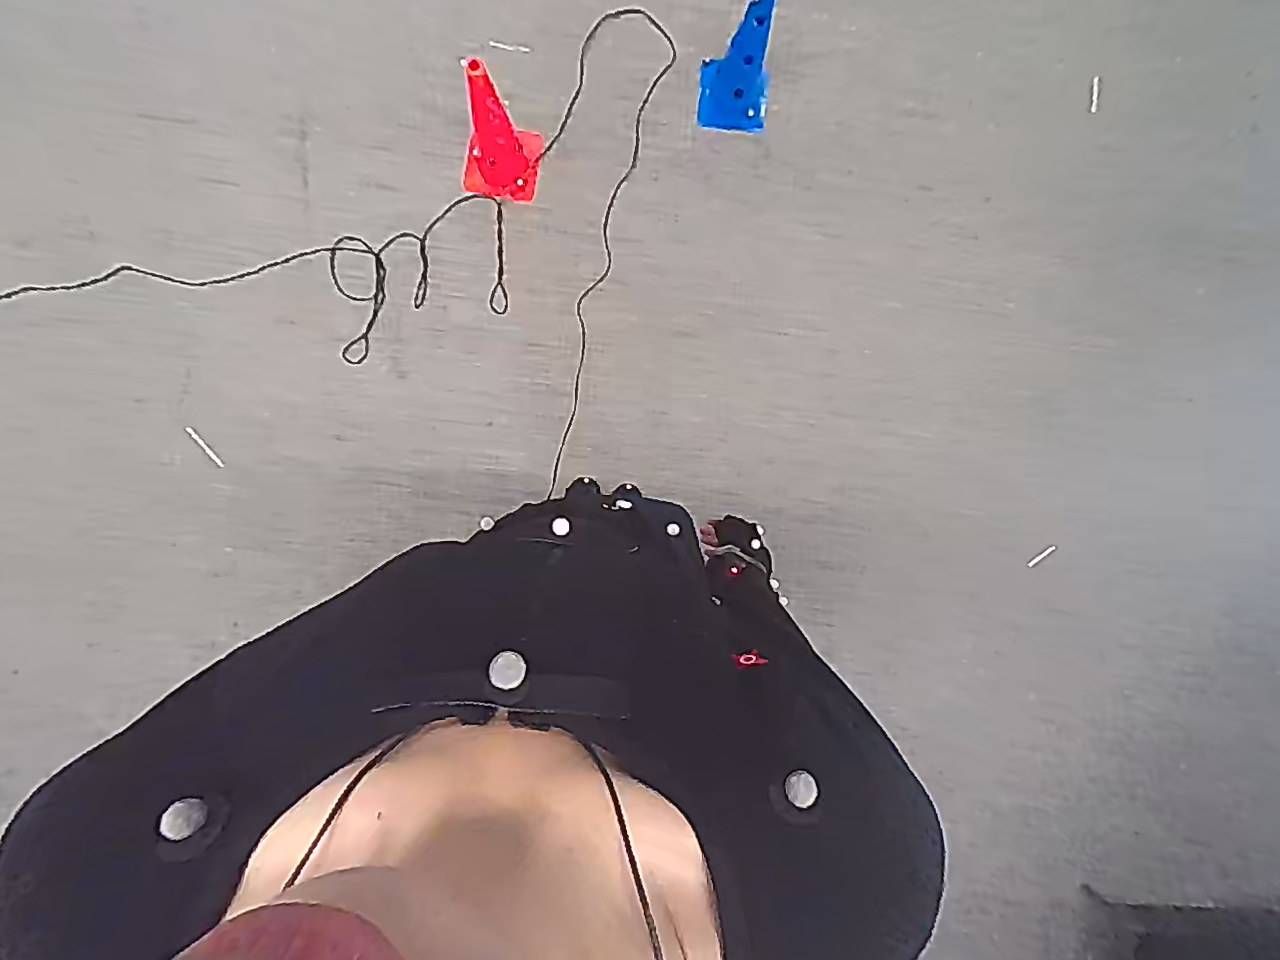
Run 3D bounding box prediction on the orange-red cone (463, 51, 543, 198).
[{"bbox_3d":[-0.366,-0.902,1.336,0.198,0.360,0.199,11,87,-5],"label":"orange-red cone"}]
